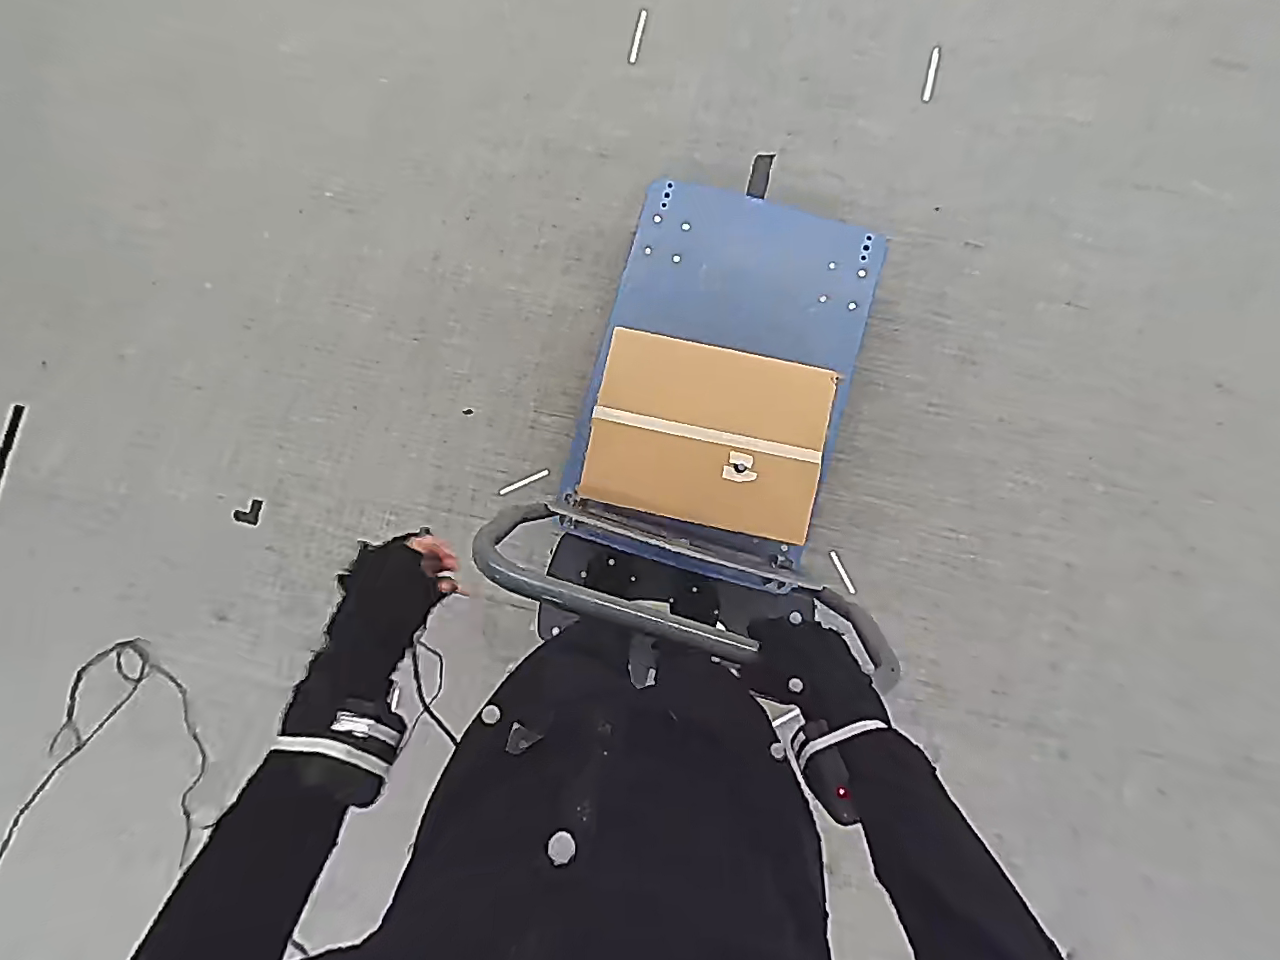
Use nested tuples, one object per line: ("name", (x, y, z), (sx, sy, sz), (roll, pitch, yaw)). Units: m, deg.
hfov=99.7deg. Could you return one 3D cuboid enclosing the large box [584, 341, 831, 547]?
("large box", (0.122, -0.059, 1.118), (0.408, 0.320, 0.320), (12, 88, 2))
